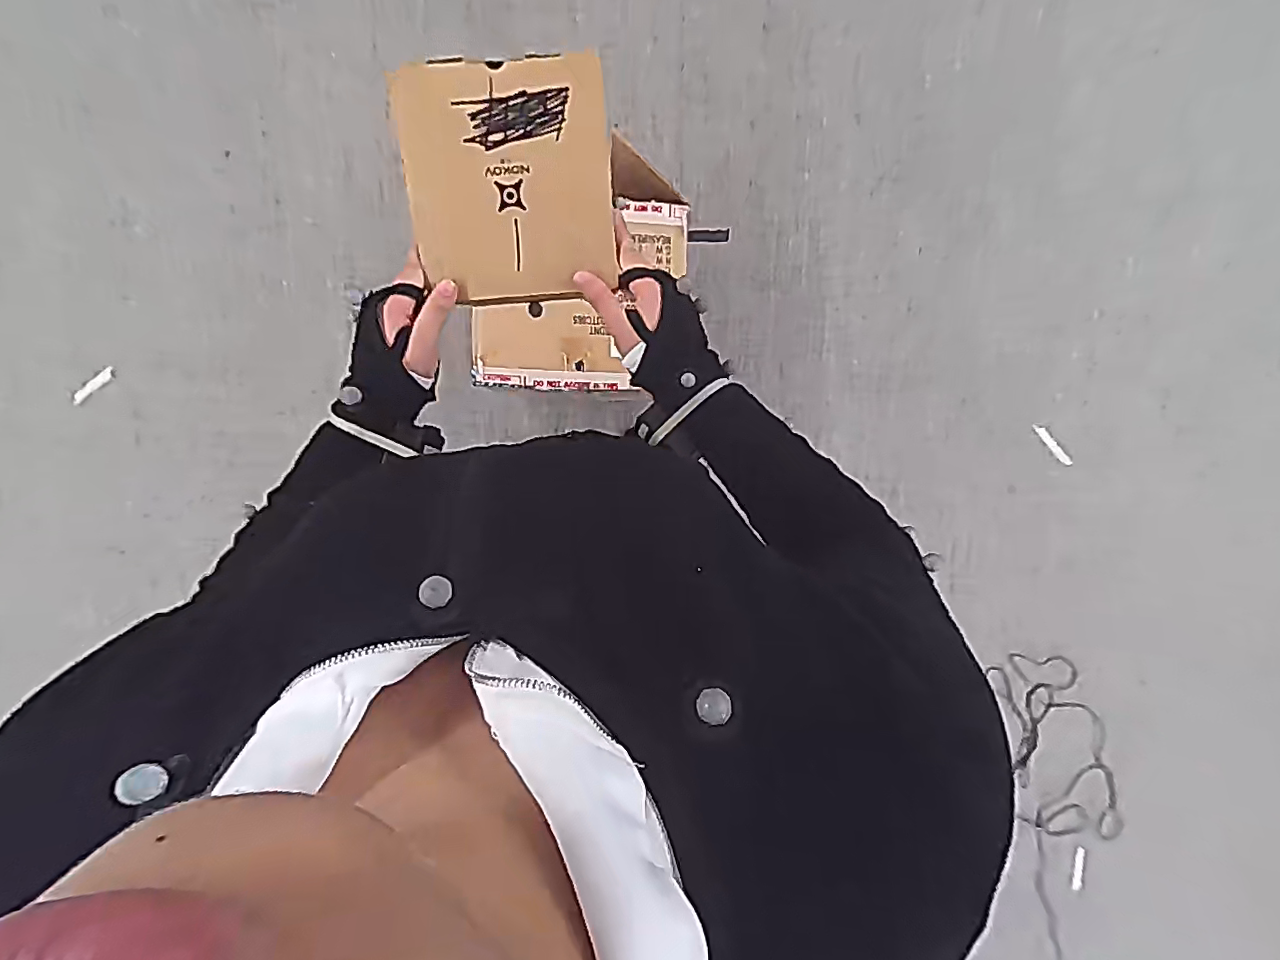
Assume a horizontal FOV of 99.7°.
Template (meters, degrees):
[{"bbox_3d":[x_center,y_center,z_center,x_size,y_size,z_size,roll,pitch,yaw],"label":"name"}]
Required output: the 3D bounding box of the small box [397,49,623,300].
[{"bbox_3d":[-0.107,-0.270,0.518,0.168,0.176,0.179,-5,108,-2],"label":"small box"}]
